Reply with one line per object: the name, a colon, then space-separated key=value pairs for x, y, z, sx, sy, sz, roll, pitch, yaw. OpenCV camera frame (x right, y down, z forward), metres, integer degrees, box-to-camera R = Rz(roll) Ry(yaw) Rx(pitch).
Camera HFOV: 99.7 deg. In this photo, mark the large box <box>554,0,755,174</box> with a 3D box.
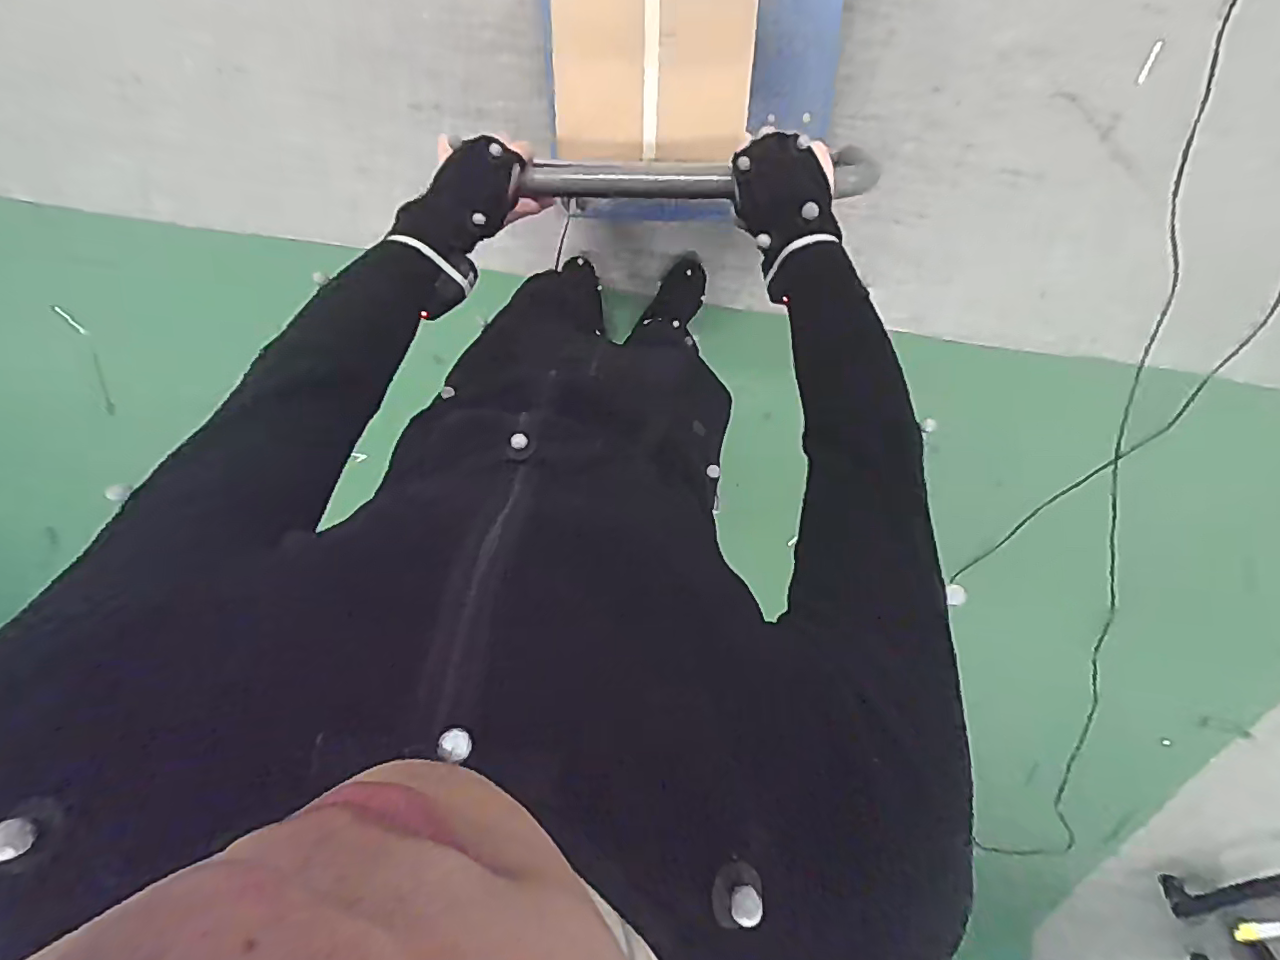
large box: x=0.038 y=-0.781 z=0.959 sx=0.320 sy=0.320 sz=0.408 roll=4 pitch=117 yaw=6
